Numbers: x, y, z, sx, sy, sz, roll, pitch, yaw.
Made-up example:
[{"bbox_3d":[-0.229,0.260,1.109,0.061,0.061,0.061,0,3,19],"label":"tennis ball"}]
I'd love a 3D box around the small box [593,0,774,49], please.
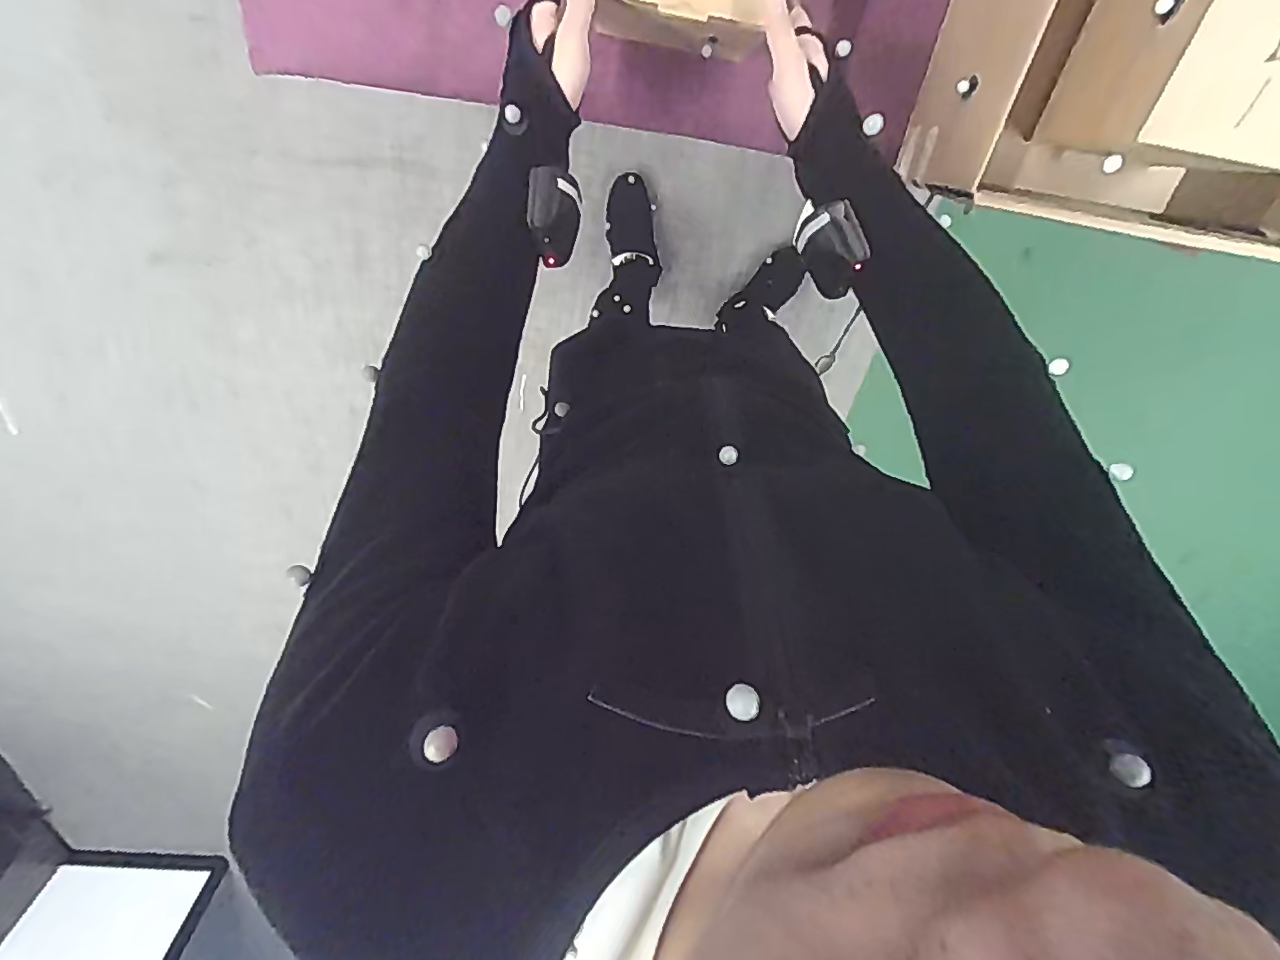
[{"bbox_3d":[0.046,-0.519,0.487,0.168,0.176,0.179,7,120,-6],"label":"small box"}]

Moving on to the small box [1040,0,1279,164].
[{"bbox_3d":[0.533,-0.411,0.506,0.168,0.176,0.179,8,122,-4],"label":"small box"}]
